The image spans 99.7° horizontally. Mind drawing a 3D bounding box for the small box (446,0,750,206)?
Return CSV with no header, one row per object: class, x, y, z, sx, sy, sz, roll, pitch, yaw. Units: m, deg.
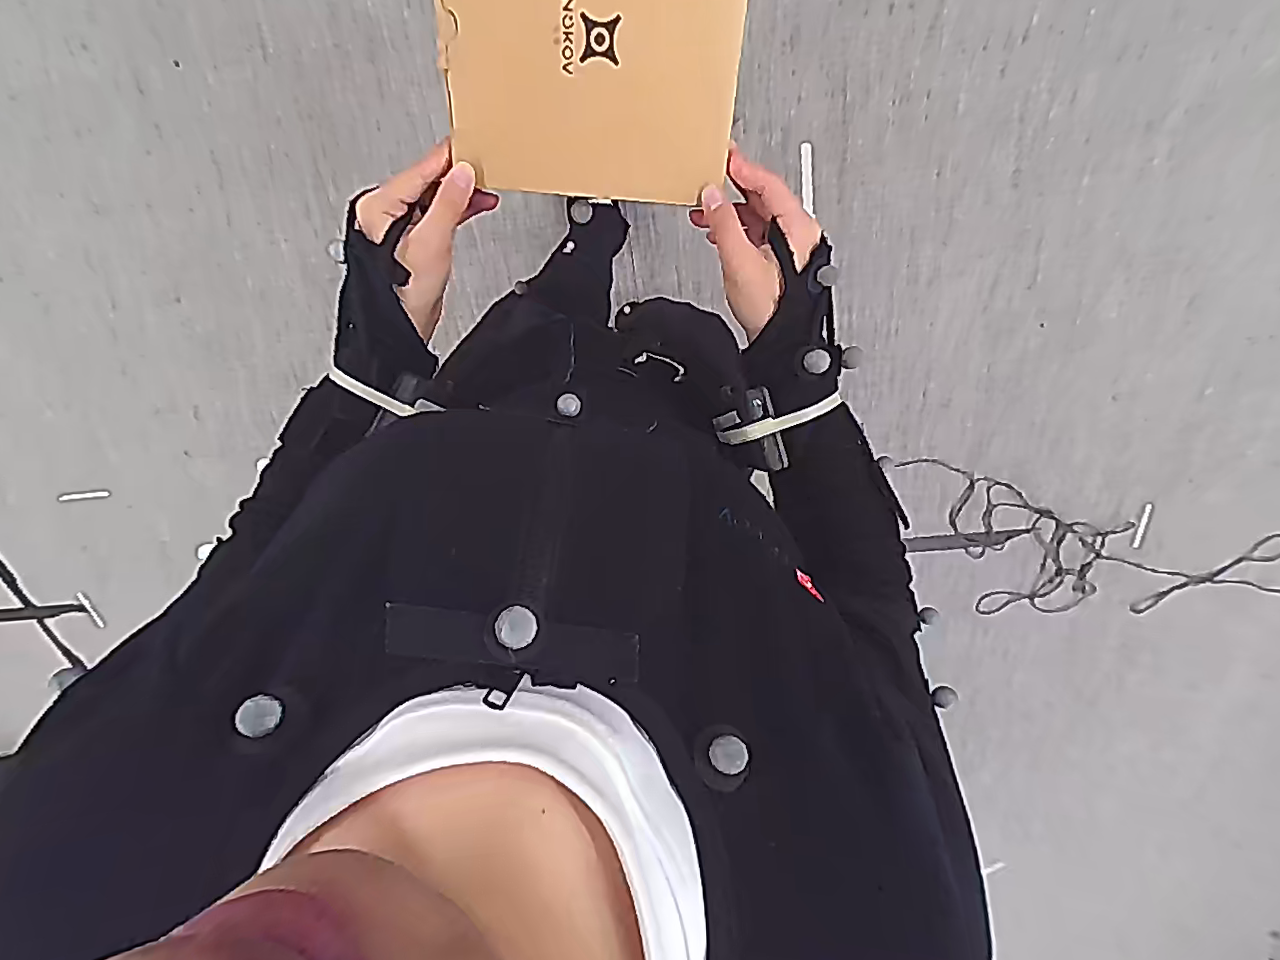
small box,-0.025,-0.300,0.387,0.179,0.176,0.168,5,119,-1
